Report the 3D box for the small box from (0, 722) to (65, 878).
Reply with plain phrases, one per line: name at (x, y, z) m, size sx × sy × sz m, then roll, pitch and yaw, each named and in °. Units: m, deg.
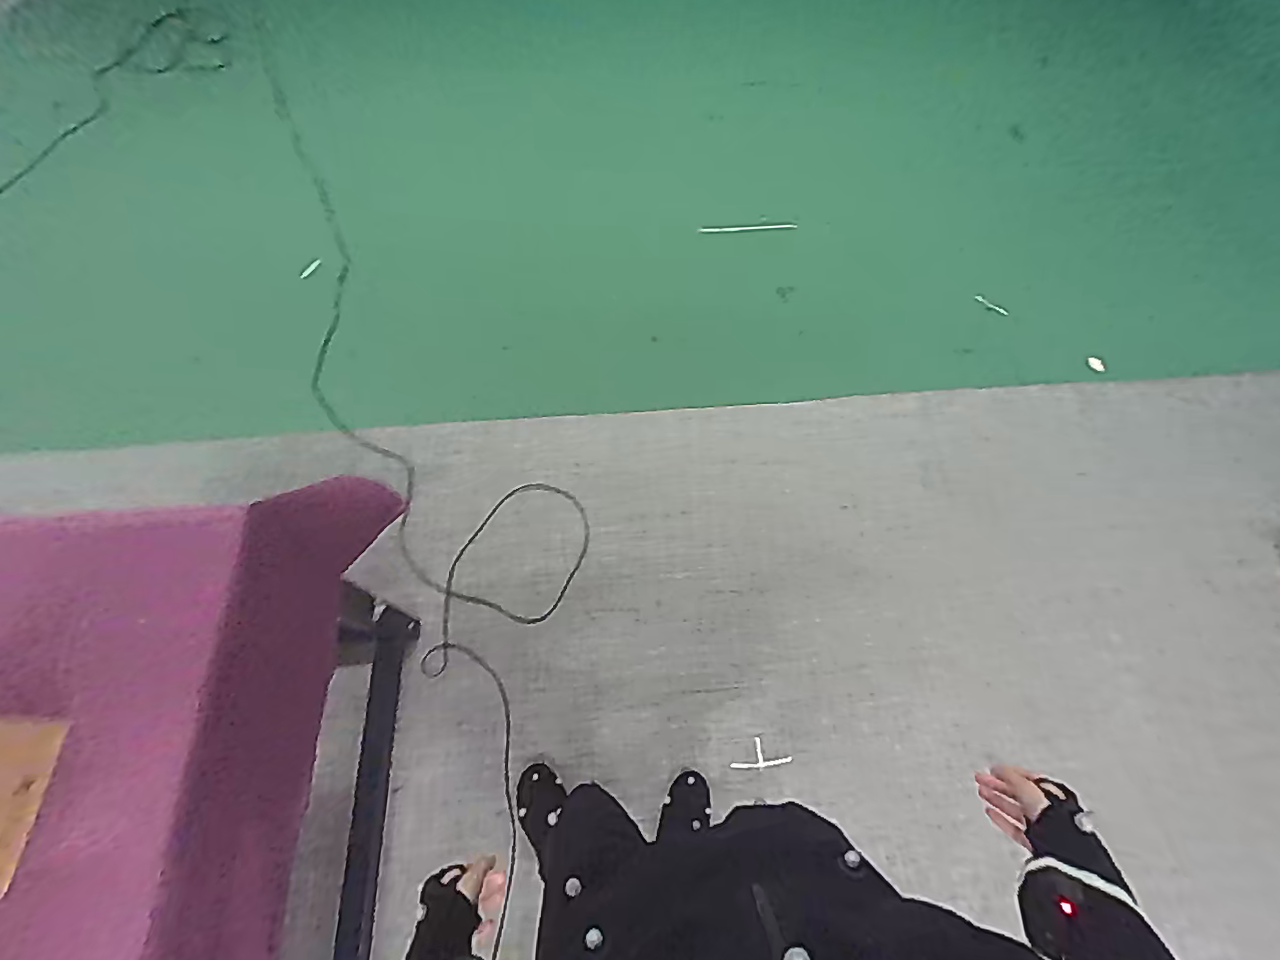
small box at (-0.743, 0.327, 0.524) m, size 0.179 × 0.176 × 0.168 m, roll -2°, pitch 65°, yaw -1°
